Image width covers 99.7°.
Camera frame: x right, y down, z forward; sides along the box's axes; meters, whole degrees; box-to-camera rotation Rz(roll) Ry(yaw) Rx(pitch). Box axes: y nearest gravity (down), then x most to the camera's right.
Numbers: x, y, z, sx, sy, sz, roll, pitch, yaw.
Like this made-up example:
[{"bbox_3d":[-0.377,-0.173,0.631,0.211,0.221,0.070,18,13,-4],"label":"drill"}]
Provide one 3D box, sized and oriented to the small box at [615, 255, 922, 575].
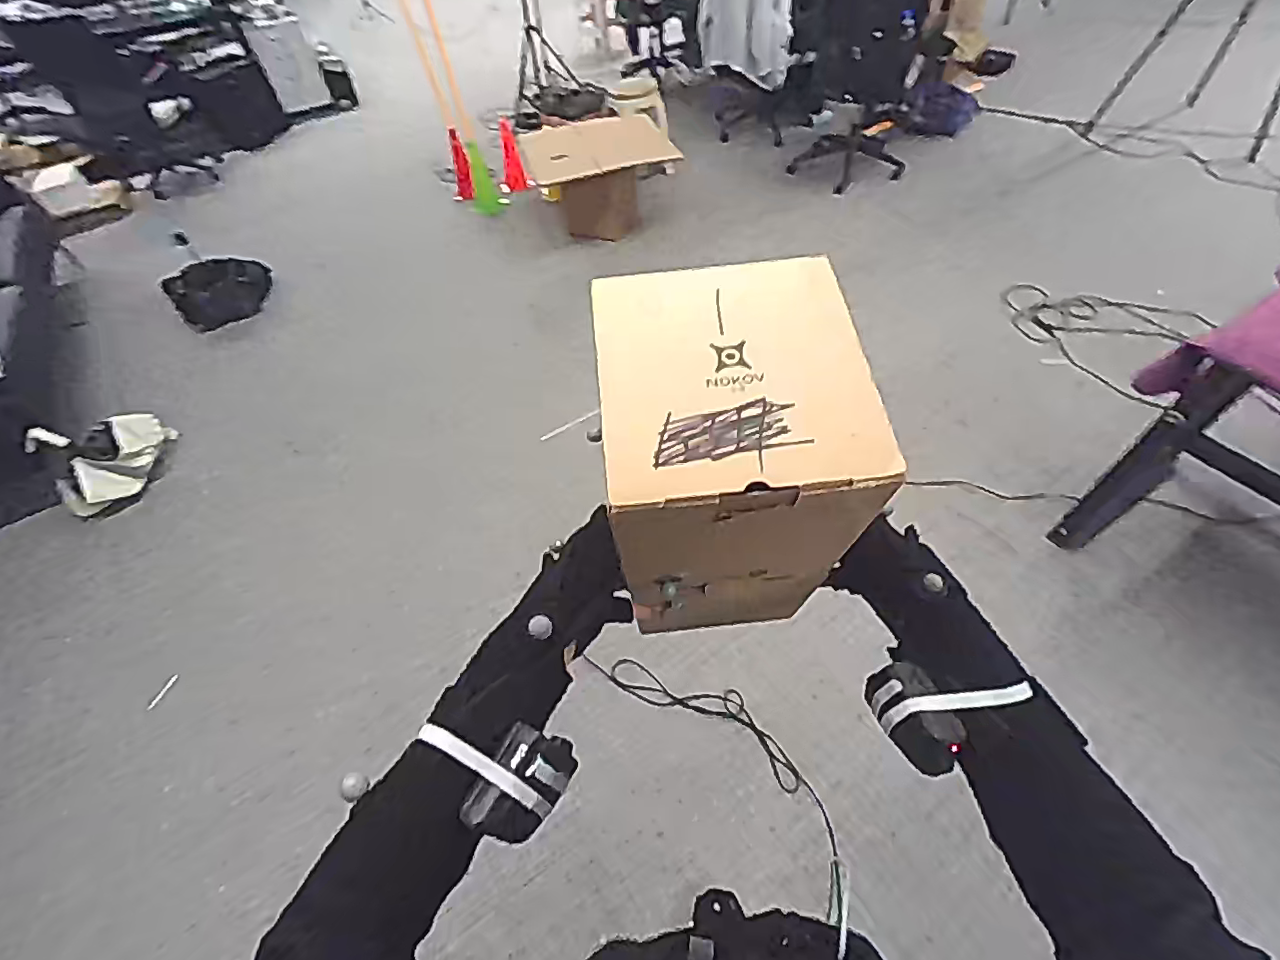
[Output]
[{"bbox_3d":[0.069,-0.033,0.393,0.168,0.176,0.179,-2,63,0],"label":"small box"}]
